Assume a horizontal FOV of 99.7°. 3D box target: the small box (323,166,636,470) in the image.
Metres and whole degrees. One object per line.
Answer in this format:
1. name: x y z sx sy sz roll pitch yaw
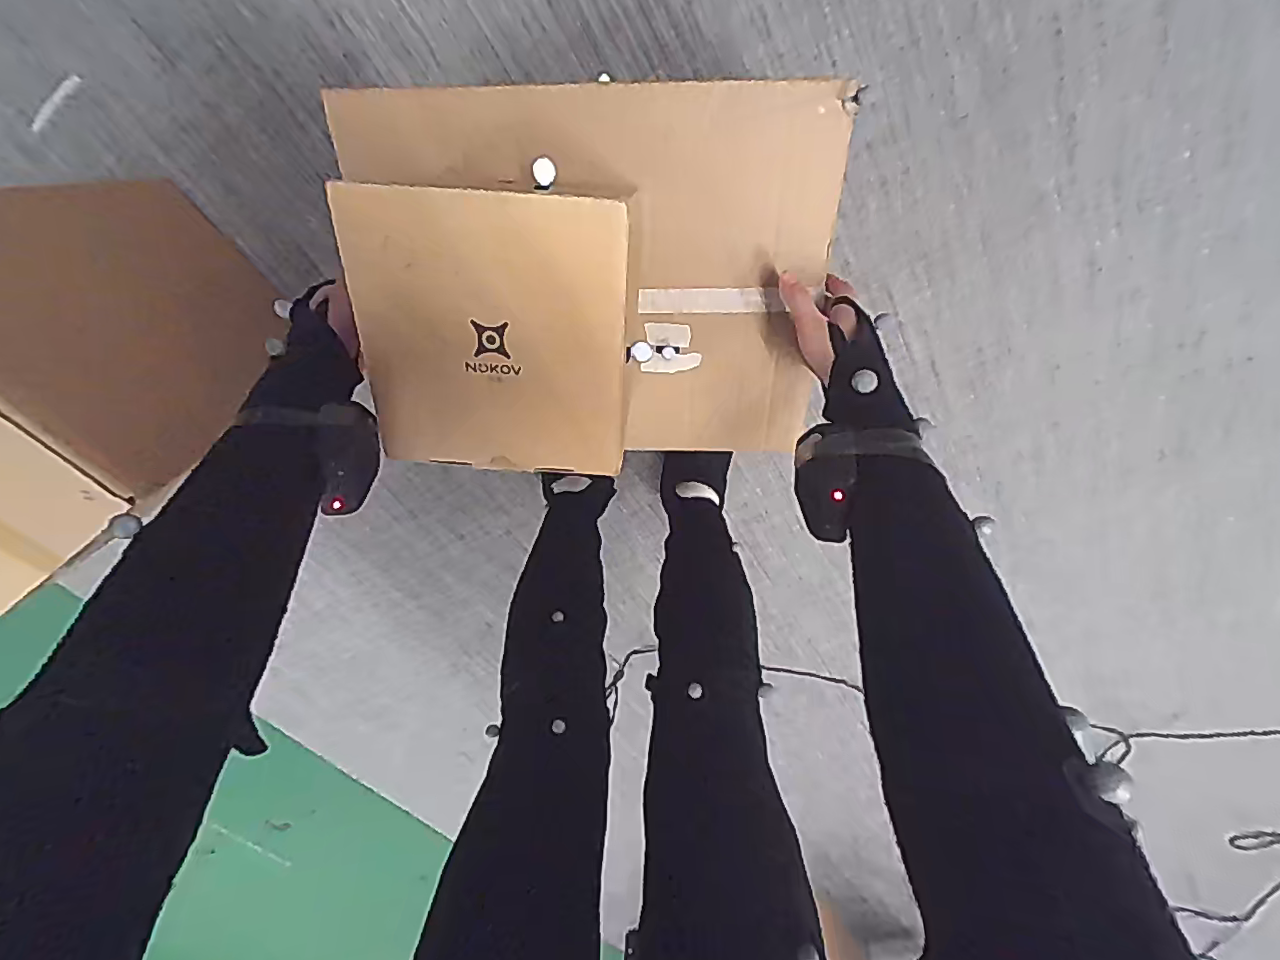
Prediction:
1. small box: -0.091 -0.127 0.399 0.168 0.176 0.179 3 122 1

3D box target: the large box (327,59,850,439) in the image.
1. large box: -0.035 -0.249 0.606 0.408 0.320 0.320 -1 123 2
